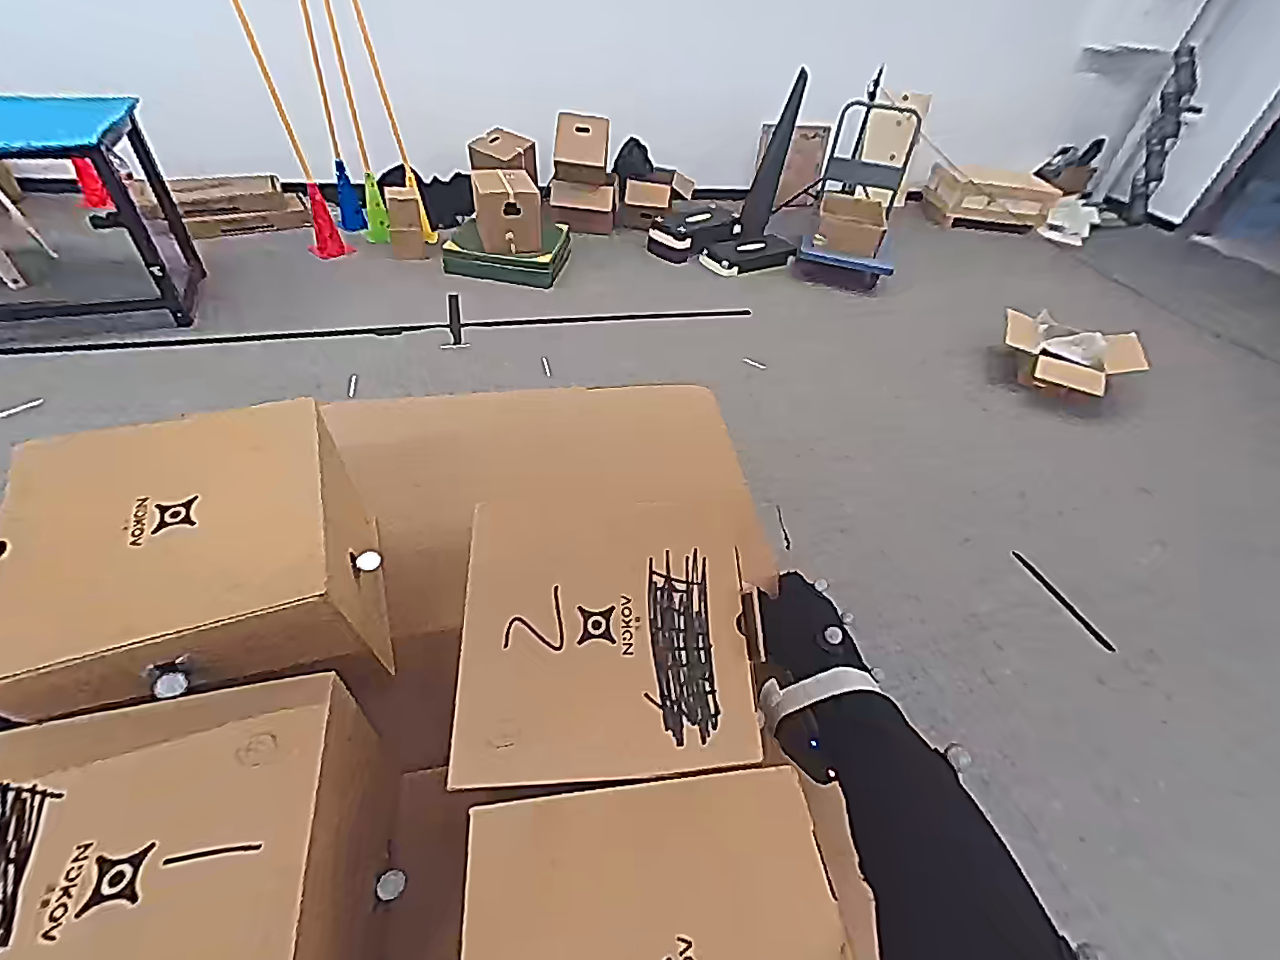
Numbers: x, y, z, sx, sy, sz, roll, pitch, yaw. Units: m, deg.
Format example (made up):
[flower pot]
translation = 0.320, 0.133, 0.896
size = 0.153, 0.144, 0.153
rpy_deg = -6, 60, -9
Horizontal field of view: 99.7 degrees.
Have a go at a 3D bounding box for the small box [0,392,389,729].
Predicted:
[small box]
translation = -0.302, 0.062, 0.407
size = 0.179, 0.176, 0.168
rpy_deg = -14, 56, -17
